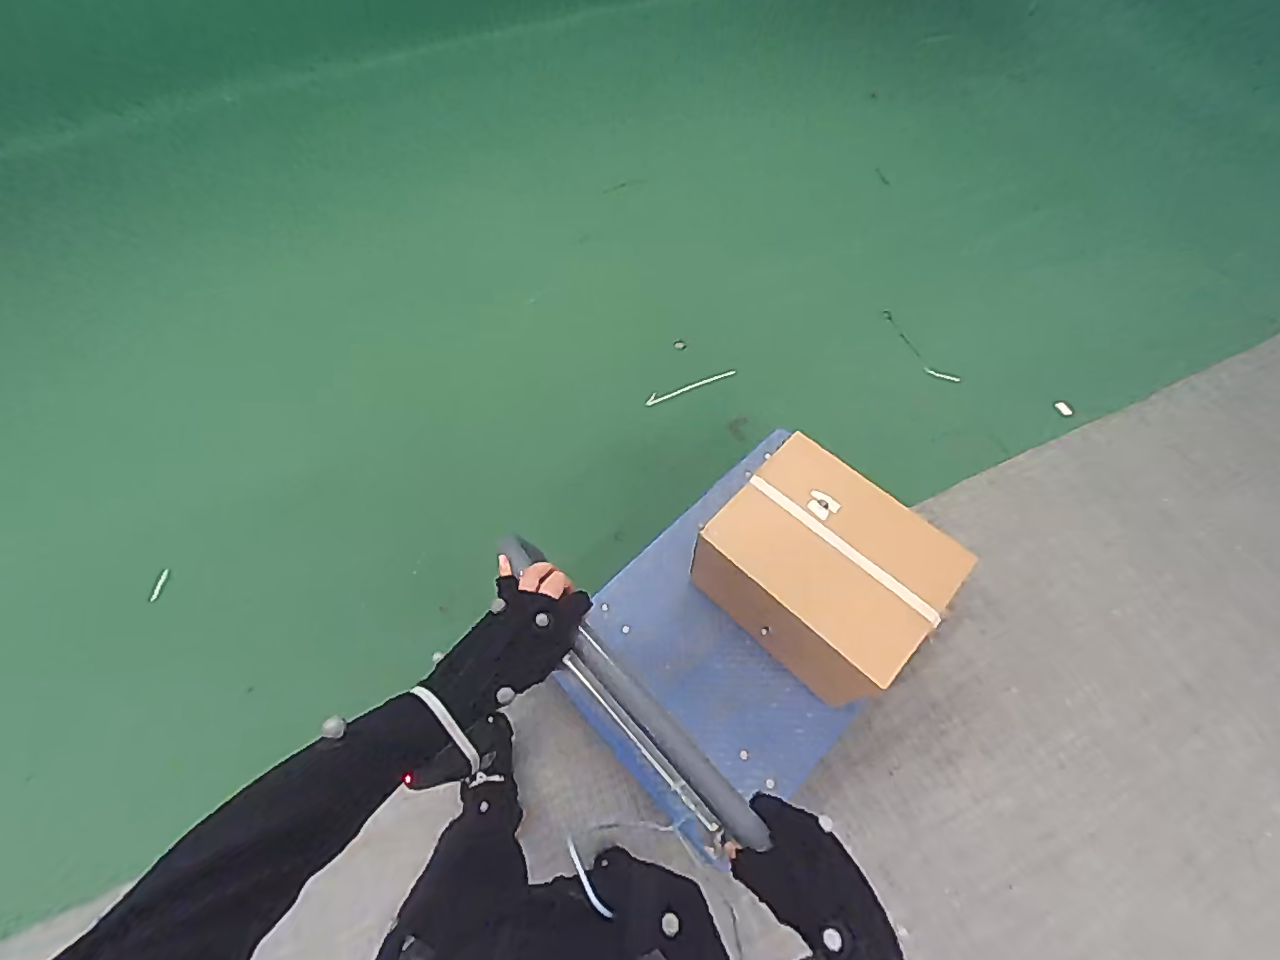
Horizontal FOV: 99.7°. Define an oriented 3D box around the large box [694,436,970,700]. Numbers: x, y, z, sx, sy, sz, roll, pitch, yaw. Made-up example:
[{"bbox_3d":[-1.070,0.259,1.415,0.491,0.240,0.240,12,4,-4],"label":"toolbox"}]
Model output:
[{"bbox_3d":[0.365,0.191,1.134,0.408,0.320,0.320,39,69,21],"label":"large box"}]
